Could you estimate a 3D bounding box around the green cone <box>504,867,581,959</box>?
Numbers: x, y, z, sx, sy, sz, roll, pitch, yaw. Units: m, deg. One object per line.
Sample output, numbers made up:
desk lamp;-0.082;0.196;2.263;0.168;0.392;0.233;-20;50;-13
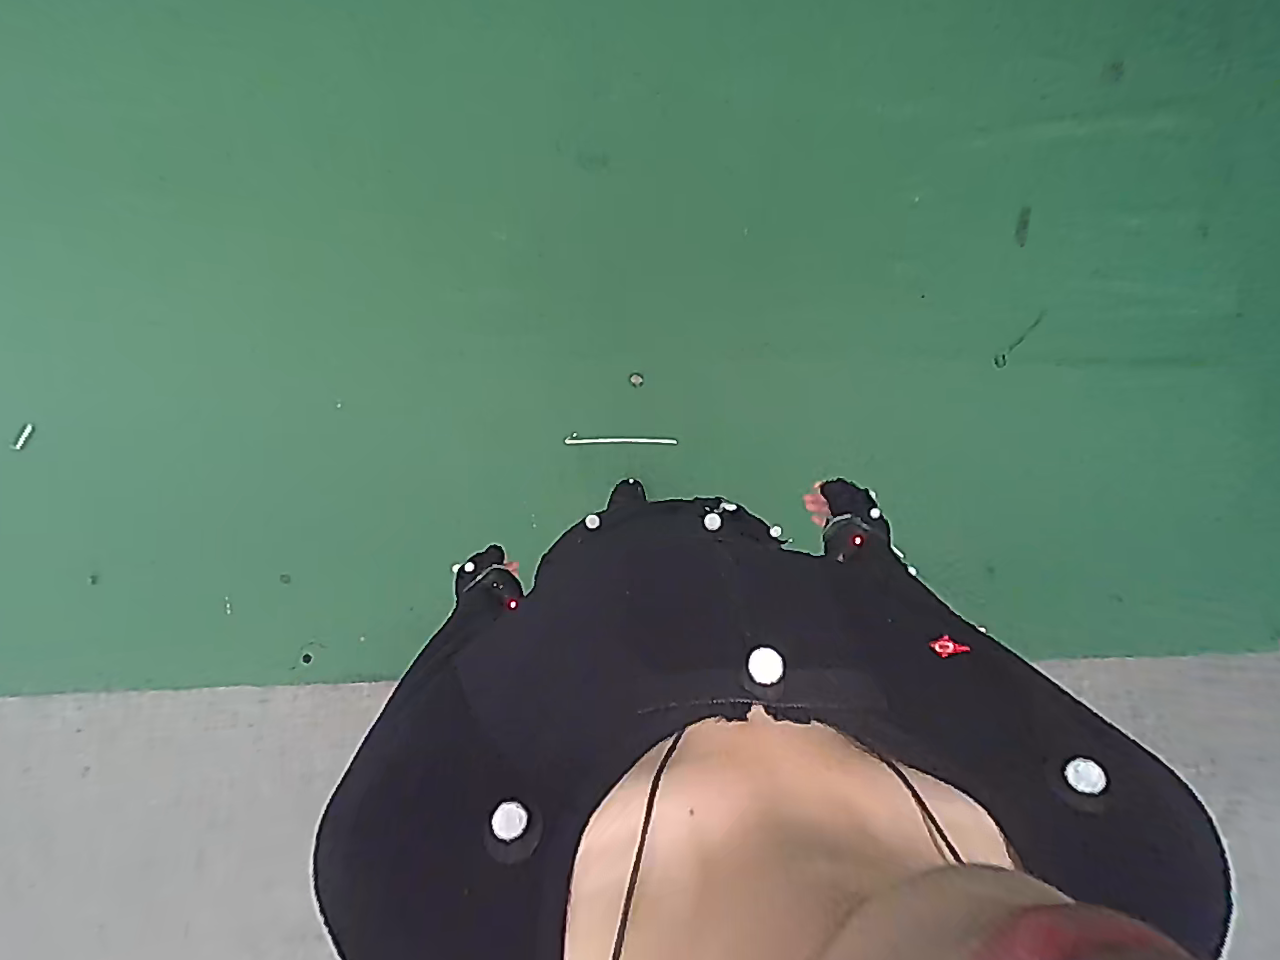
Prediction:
green cone;-0.251;1.119;1.257;0.200;0.368;0.202;1;87;-2
